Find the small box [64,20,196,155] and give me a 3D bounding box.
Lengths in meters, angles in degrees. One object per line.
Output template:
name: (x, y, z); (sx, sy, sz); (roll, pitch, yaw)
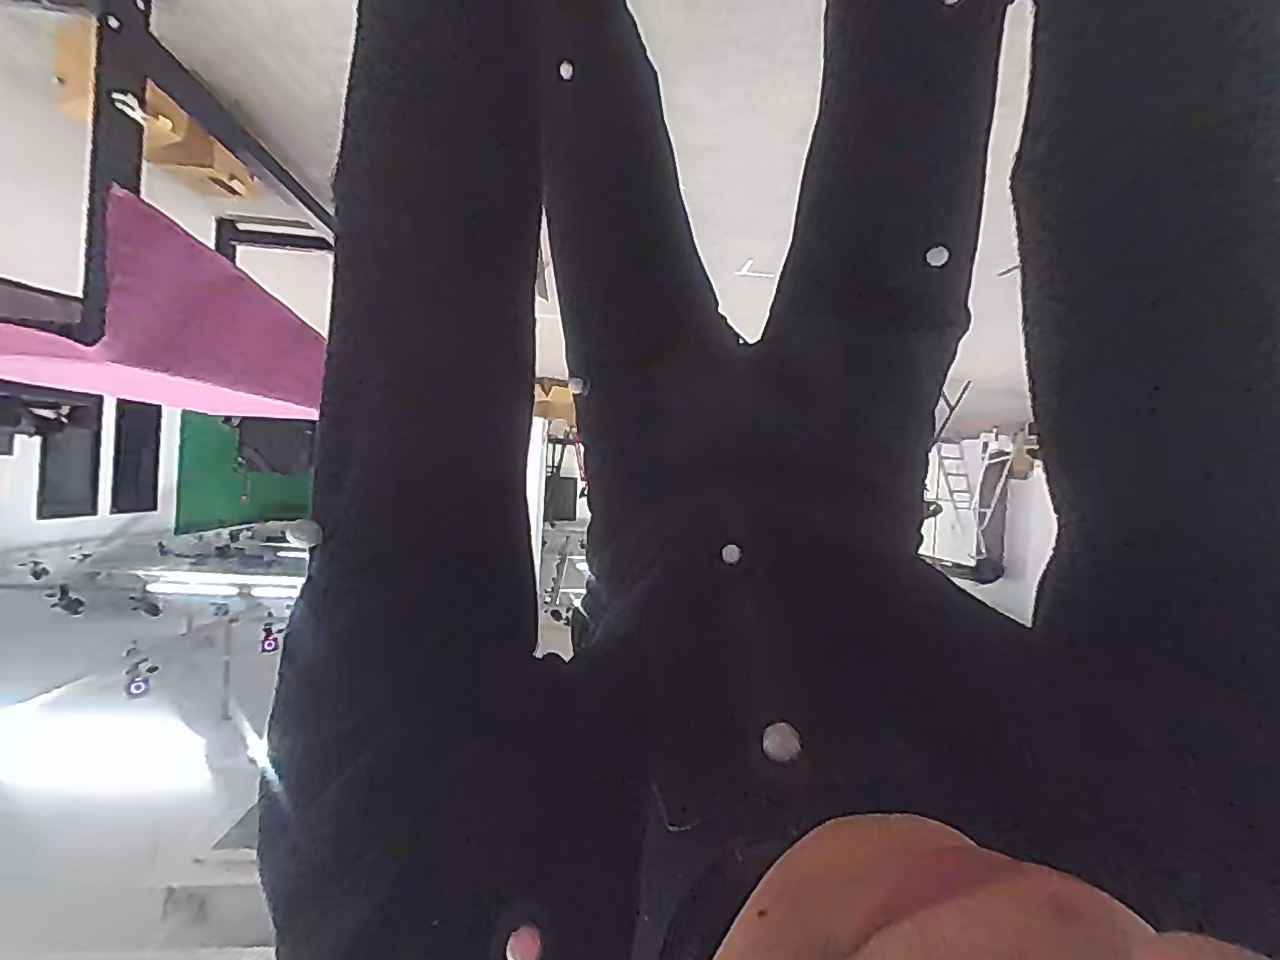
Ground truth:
small box: (-1.138, -0.875, 1.216); (0.179, 0.176, 0.168); (4, -179, 23)
